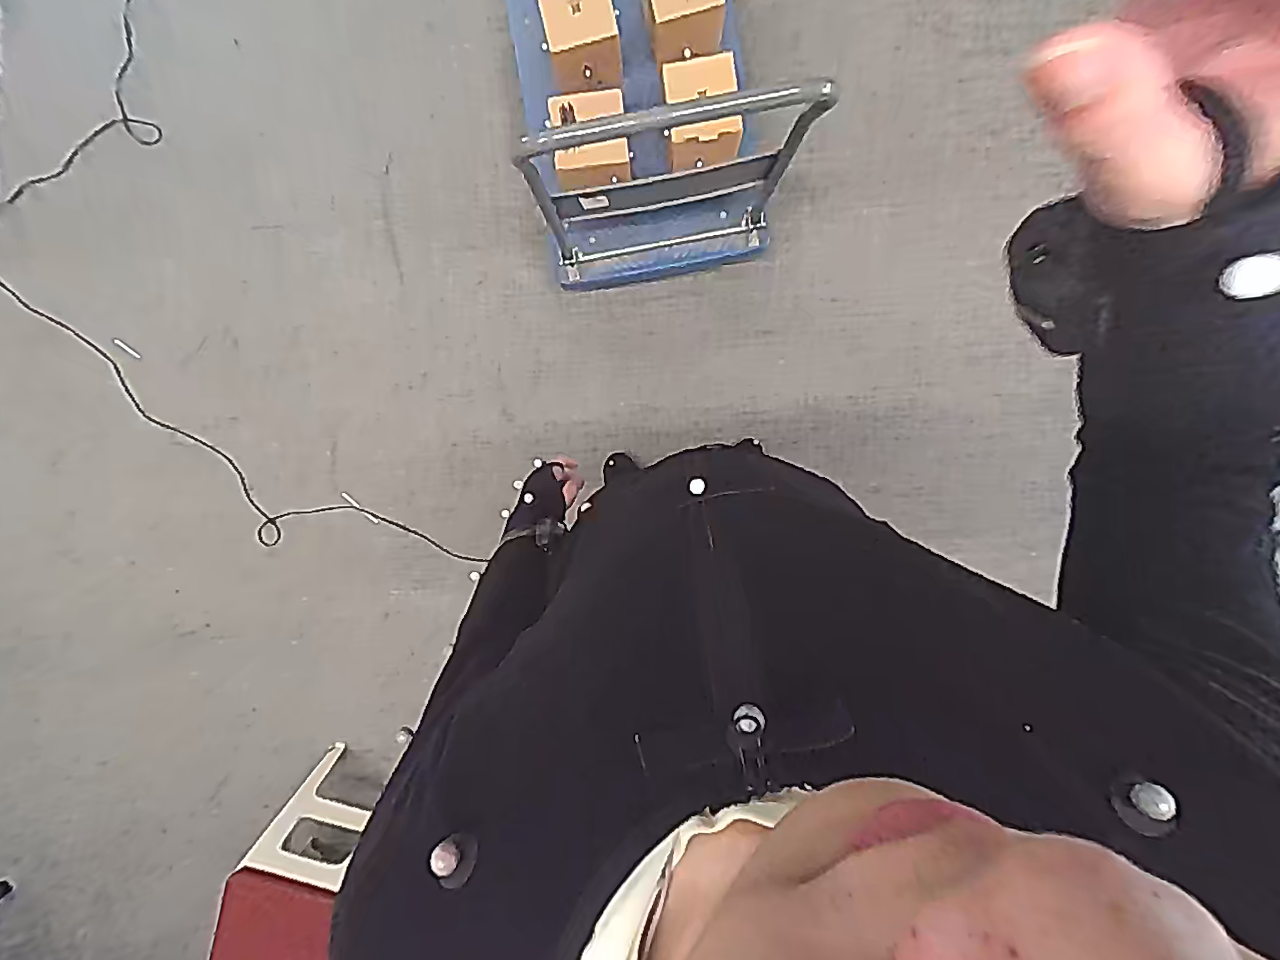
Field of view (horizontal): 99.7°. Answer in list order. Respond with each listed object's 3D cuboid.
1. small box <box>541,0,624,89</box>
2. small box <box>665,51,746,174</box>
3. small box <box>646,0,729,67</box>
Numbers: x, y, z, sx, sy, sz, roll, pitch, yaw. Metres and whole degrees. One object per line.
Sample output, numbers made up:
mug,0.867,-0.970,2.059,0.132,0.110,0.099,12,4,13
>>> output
small box,-0.138,-1.091,1.309,0.168,0.176,0.179,-13,94,2
small box,0.153,-0.884,1.314,0.168,0.176,0.179,-9,94,3
small box,0.107,-1.150,1.294,0.168,0.176,0.179,-13,95,4
